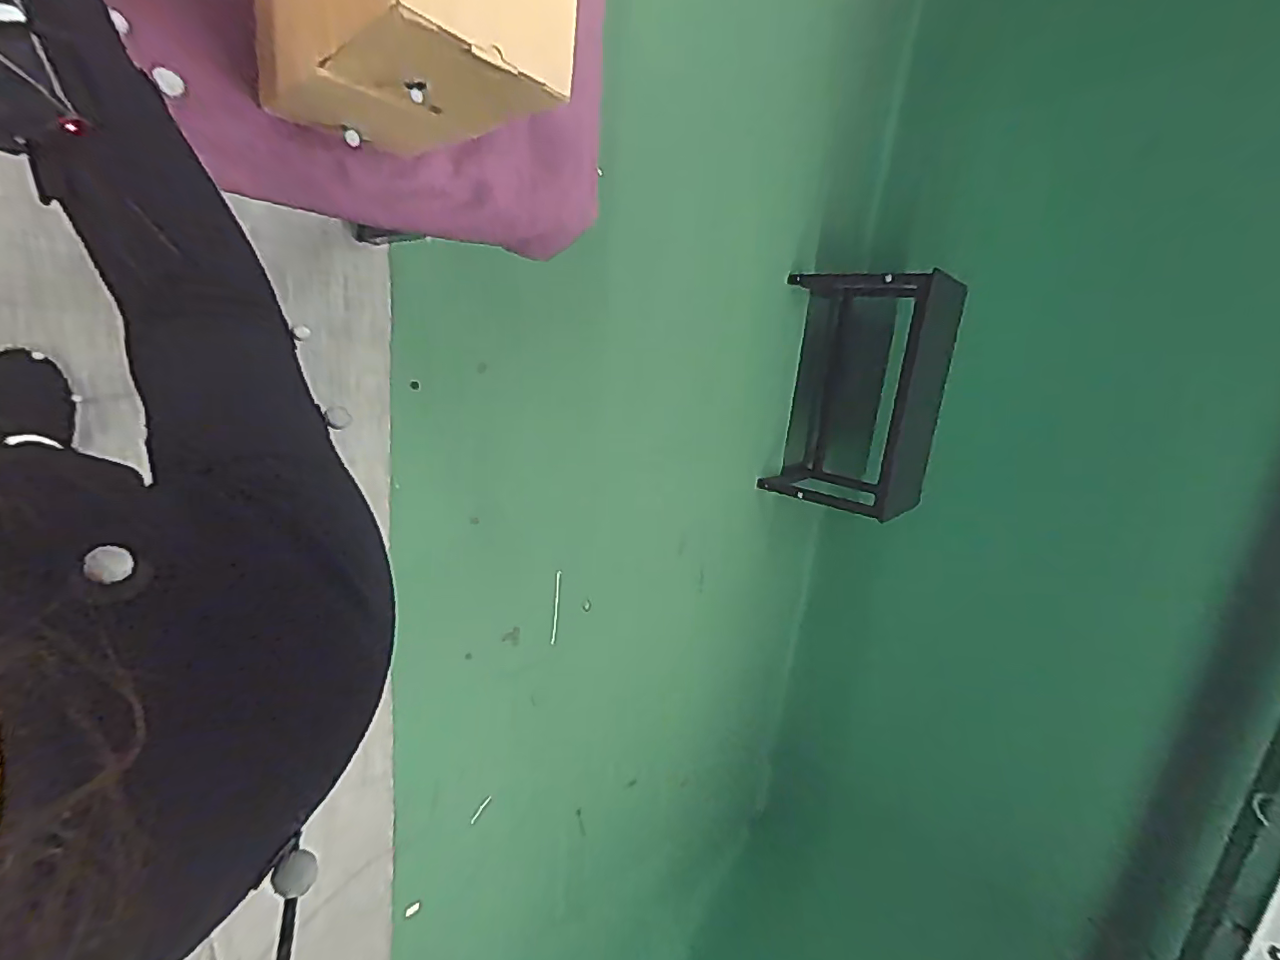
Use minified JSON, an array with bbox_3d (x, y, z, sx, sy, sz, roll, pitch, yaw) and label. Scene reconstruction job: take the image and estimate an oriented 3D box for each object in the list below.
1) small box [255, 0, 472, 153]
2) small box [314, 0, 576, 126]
[{"bbox_3d":[-0.295,-0.483,0.581,0.168,0.176,0.179,-9,110,-48],"label":"small box"},{"bbox_3d":[-0.173,-0.451,0.479,0.168,0.176,0.179,-10,111,-48],"label":"small box"}]
